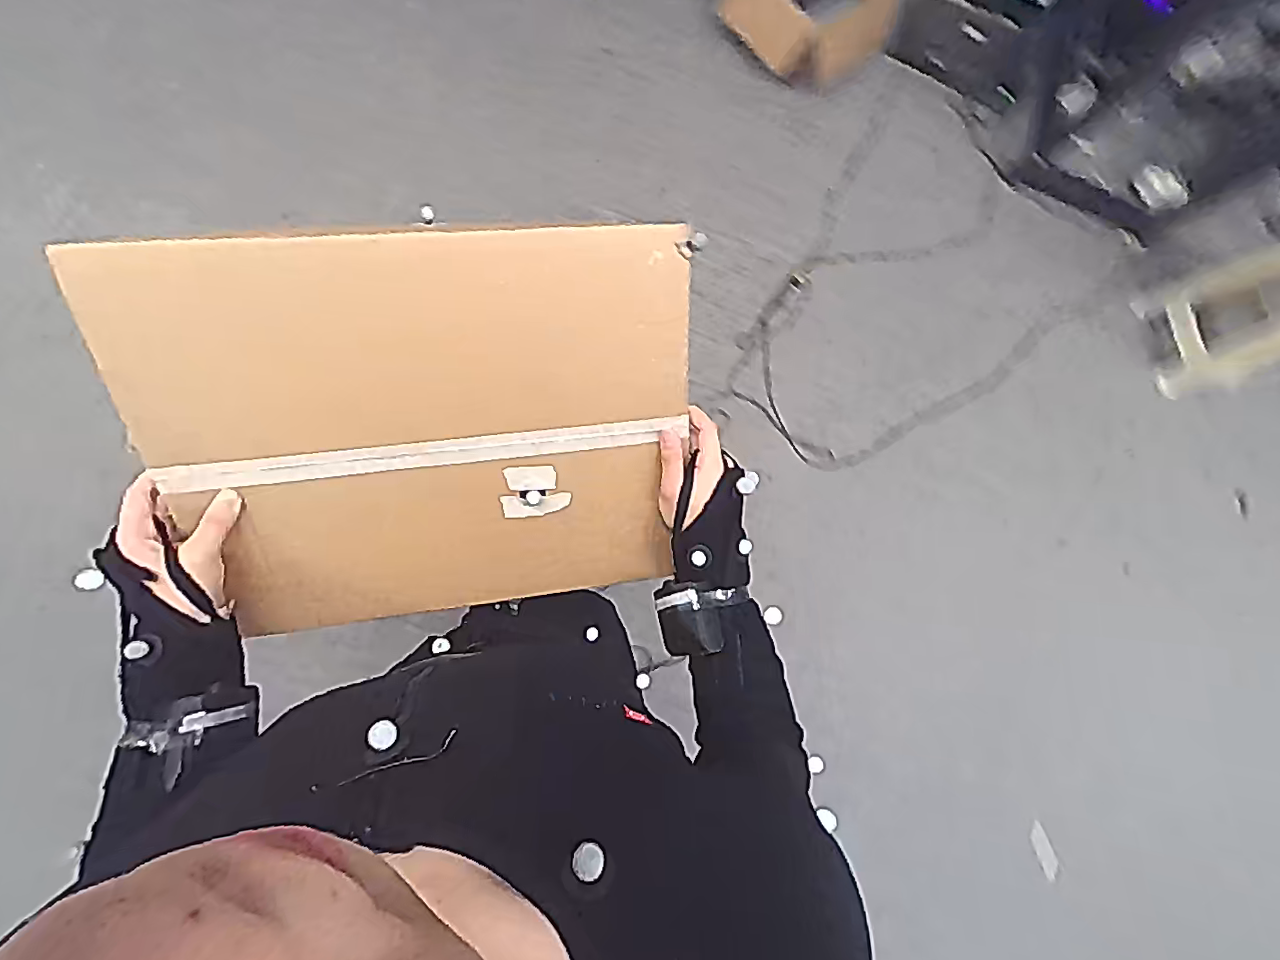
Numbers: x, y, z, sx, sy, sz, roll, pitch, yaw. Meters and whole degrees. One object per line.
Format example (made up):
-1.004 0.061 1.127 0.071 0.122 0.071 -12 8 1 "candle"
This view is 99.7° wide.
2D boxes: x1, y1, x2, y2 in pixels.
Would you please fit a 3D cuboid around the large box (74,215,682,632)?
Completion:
-0.195 -0.096 0.572 0.408 0.320 0.320 -9 119 -11 "large box"
